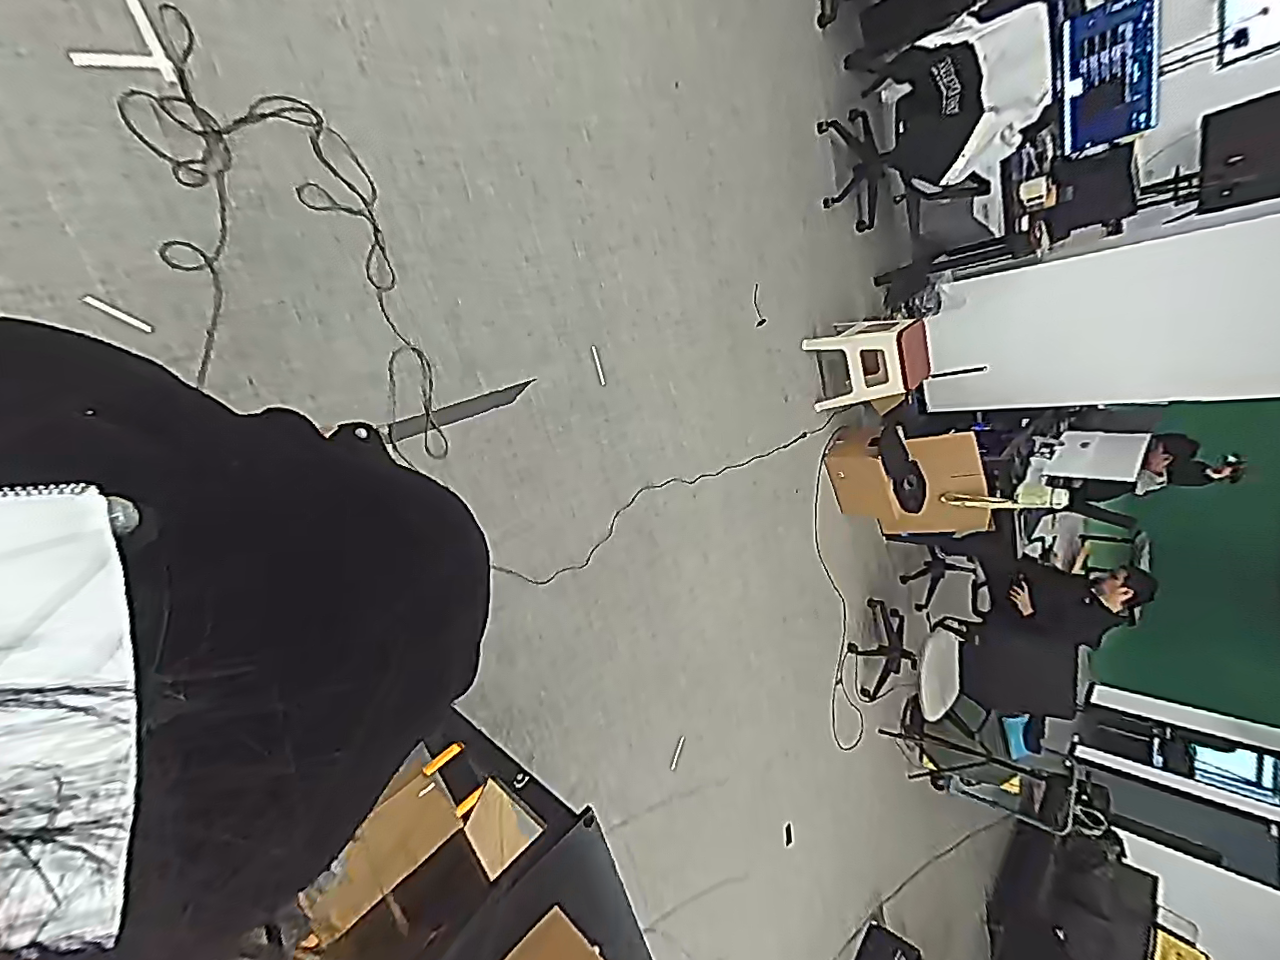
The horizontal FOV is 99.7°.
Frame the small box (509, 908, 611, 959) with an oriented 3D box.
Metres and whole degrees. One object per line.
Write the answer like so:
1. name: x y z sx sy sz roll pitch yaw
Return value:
1. small box: -0.128 0.874 0.890 0.179 0.176 0.168 -29 110 -37
